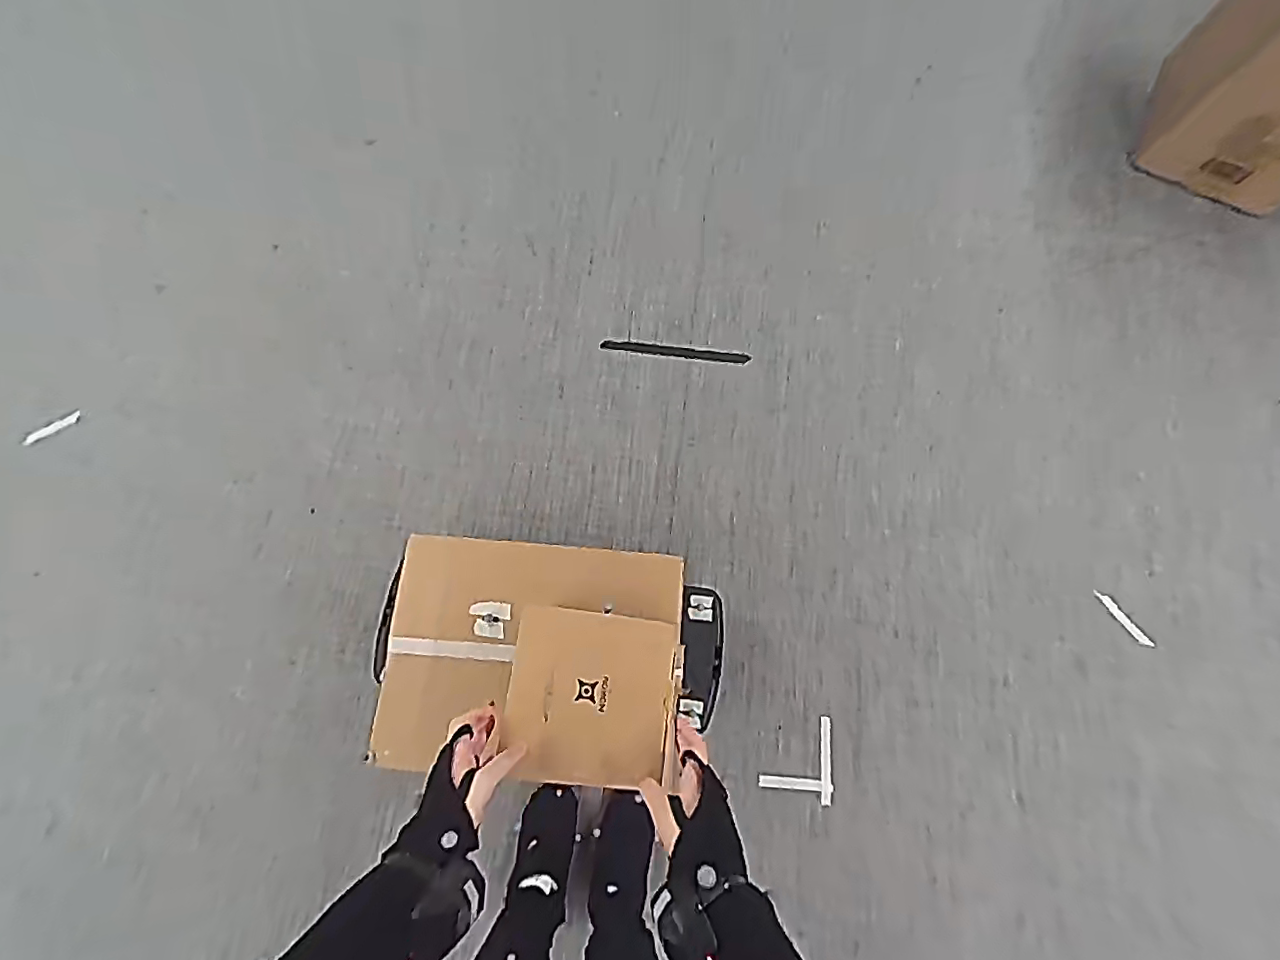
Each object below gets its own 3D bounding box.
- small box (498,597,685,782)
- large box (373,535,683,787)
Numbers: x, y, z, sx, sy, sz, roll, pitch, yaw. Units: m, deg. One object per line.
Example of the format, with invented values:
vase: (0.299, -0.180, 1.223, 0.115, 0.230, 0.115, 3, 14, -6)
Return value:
small box: (-0.050, 0.238, 0.649, 0.179, 0.176, 0.168, 8, 75, 2)
large box: (-0.144, 0.280, 0.890, 0.408, 0.320, 0.320, 5, 74, 1)
